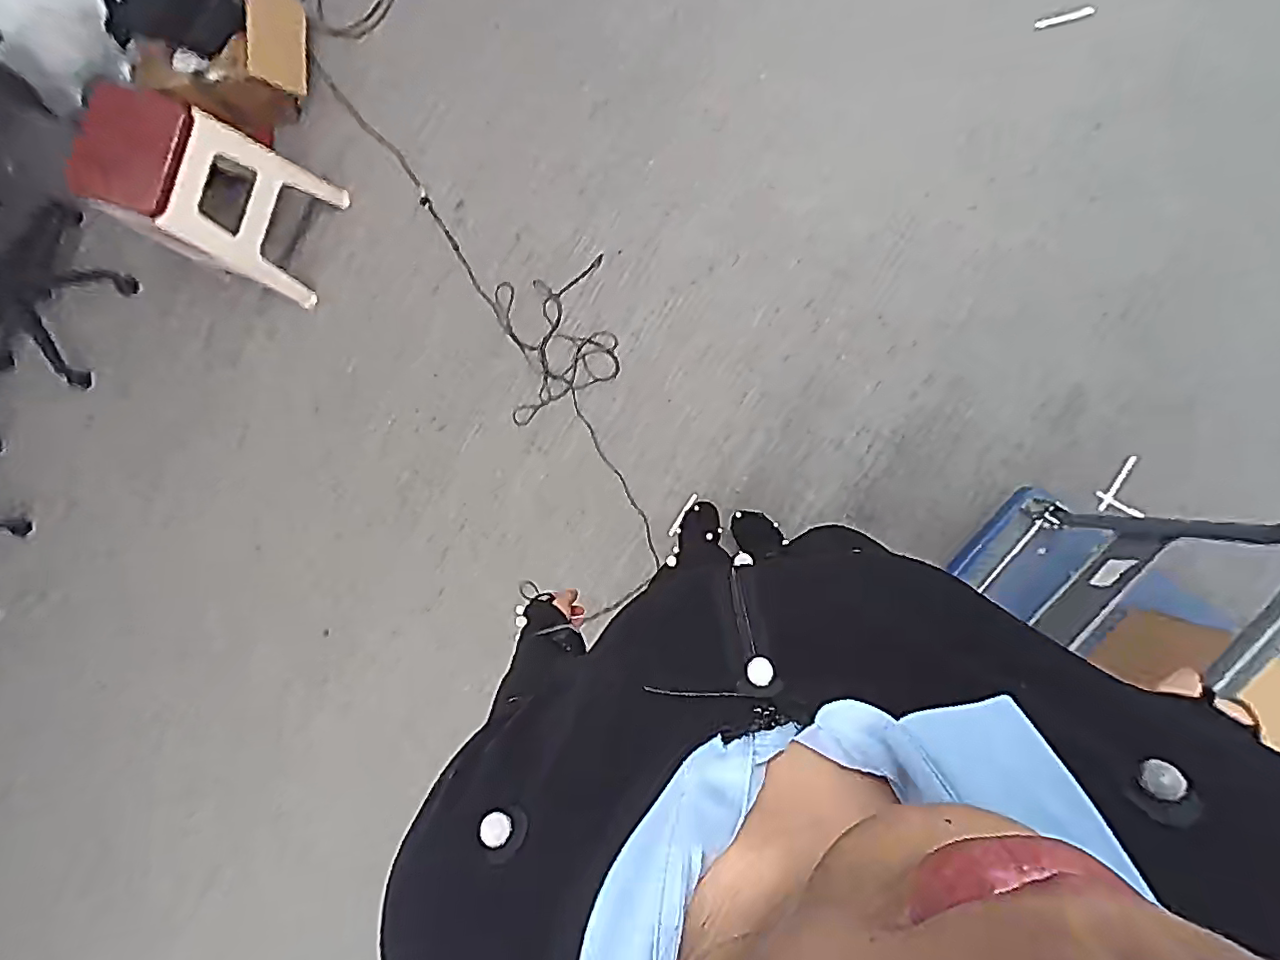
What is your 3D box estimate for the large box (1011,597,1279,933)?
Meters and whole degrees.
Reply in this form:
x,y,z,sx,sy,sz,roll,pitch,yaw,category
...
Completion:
x,y,z,sx,sy,sz,roll,pitch,yaw,category
1.033,0.492,1.027,0.320,0.320,0.408,39,94,8,large box
